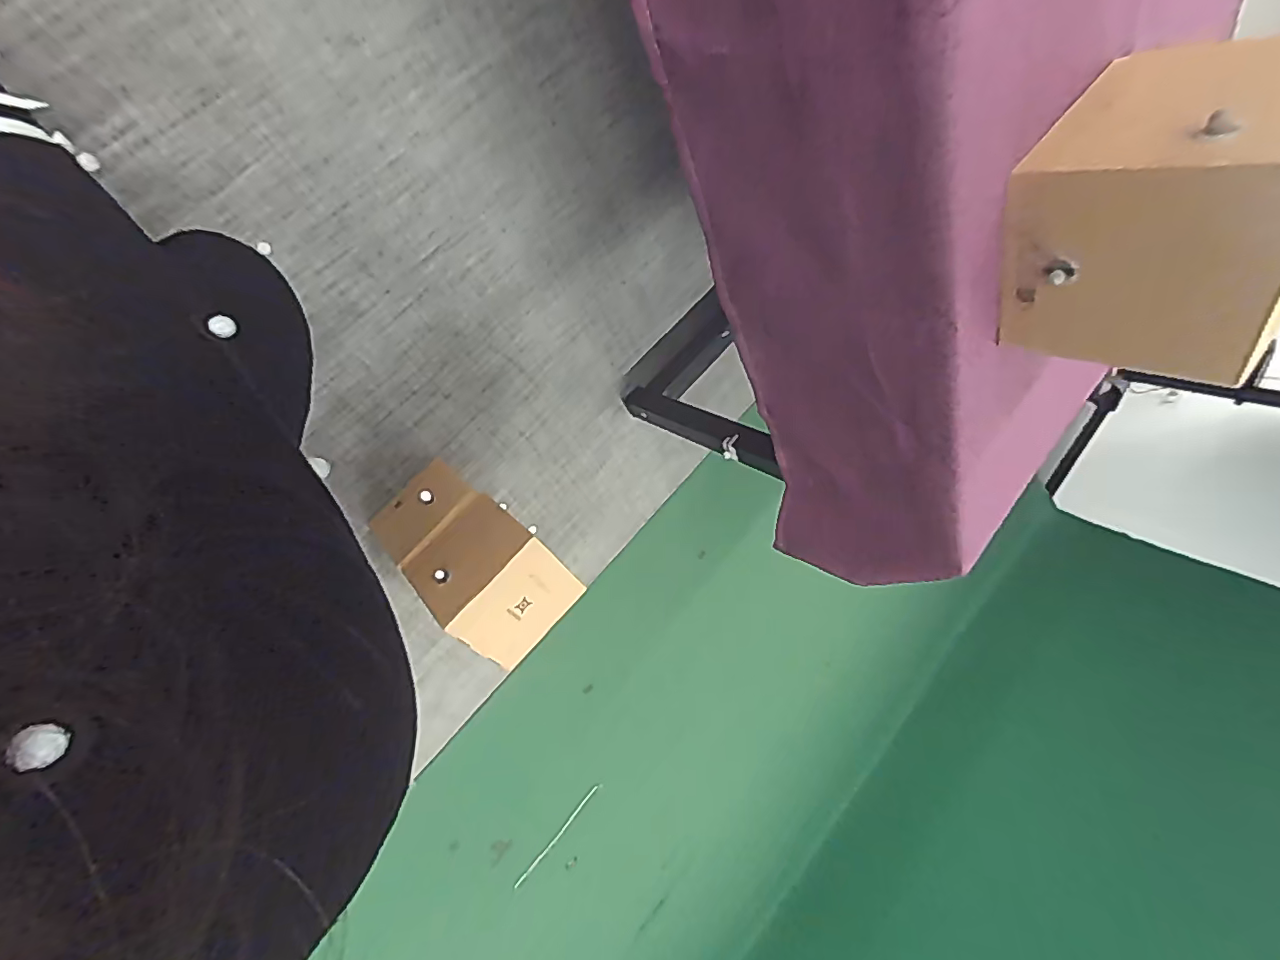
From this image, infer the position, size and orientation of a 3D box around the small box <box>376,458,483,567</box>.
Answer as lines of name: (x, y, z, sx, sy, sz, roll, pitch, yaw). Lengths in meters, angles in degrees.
small box: (-0.335, 0.081, 0.967, 0.168, 0.176, 0.179, -48, 135, -11)

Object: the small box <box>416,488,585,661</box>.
small box: (-0.228, 0.145, 0.861, 0.179, 0.176, 0.168, -47, 137, -14)
